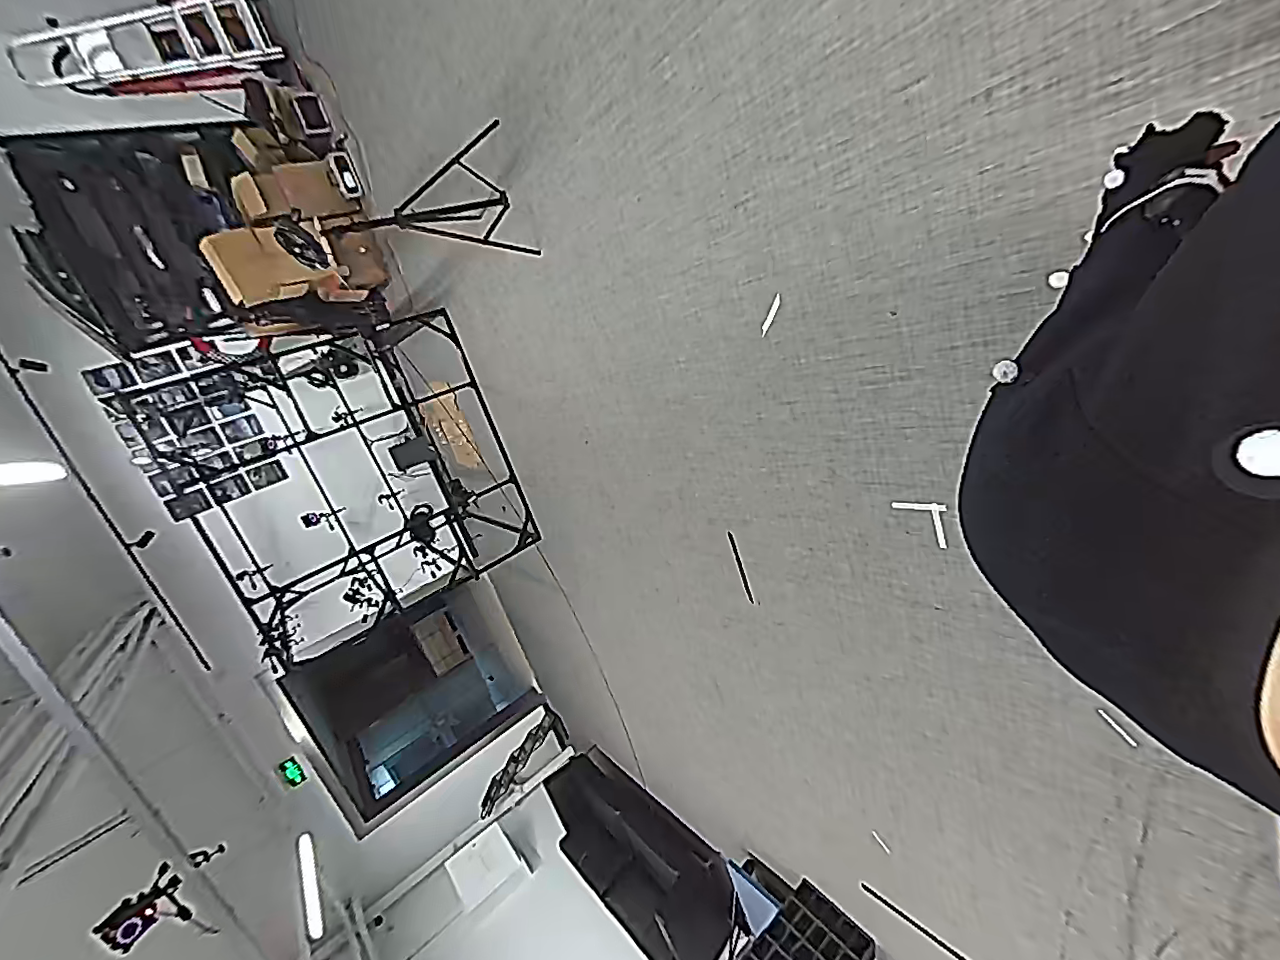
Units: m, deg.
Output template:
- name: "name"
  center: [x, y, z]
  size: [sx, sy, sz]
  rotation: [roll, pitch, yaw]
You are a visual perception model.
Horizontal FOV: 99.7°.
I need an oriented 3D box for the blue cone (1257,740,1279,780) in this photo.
- name: "blue cone"
  center: [1.427, 0.731, 1.132]
  size: [0.193, 0.380, 0.192]
  rotation: [32, 140, 41]
